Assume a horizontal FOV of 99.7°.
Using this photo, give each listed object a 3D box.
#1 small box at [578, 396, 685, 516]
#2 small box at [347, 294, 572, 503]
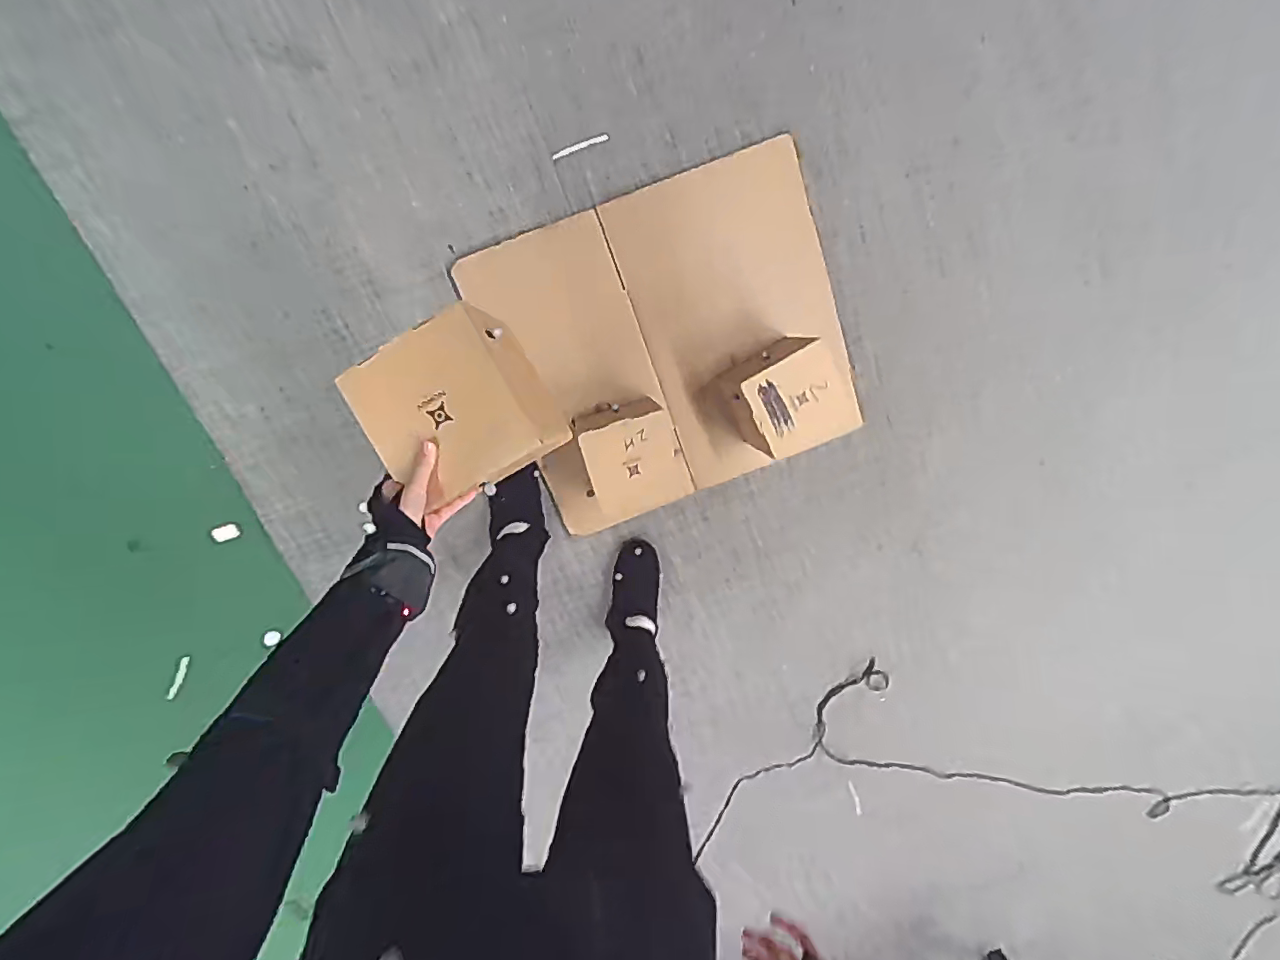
[{"bbox_3d":[-0.021,-0.055,1.066,0.168,0.176,0.179,-16,107,-3],"label":"small box"},{"bbox_3d":[-0.202,-0.094,0.660,0.168,0.176,0.179,-28,93,6],"label":"small box"}]
